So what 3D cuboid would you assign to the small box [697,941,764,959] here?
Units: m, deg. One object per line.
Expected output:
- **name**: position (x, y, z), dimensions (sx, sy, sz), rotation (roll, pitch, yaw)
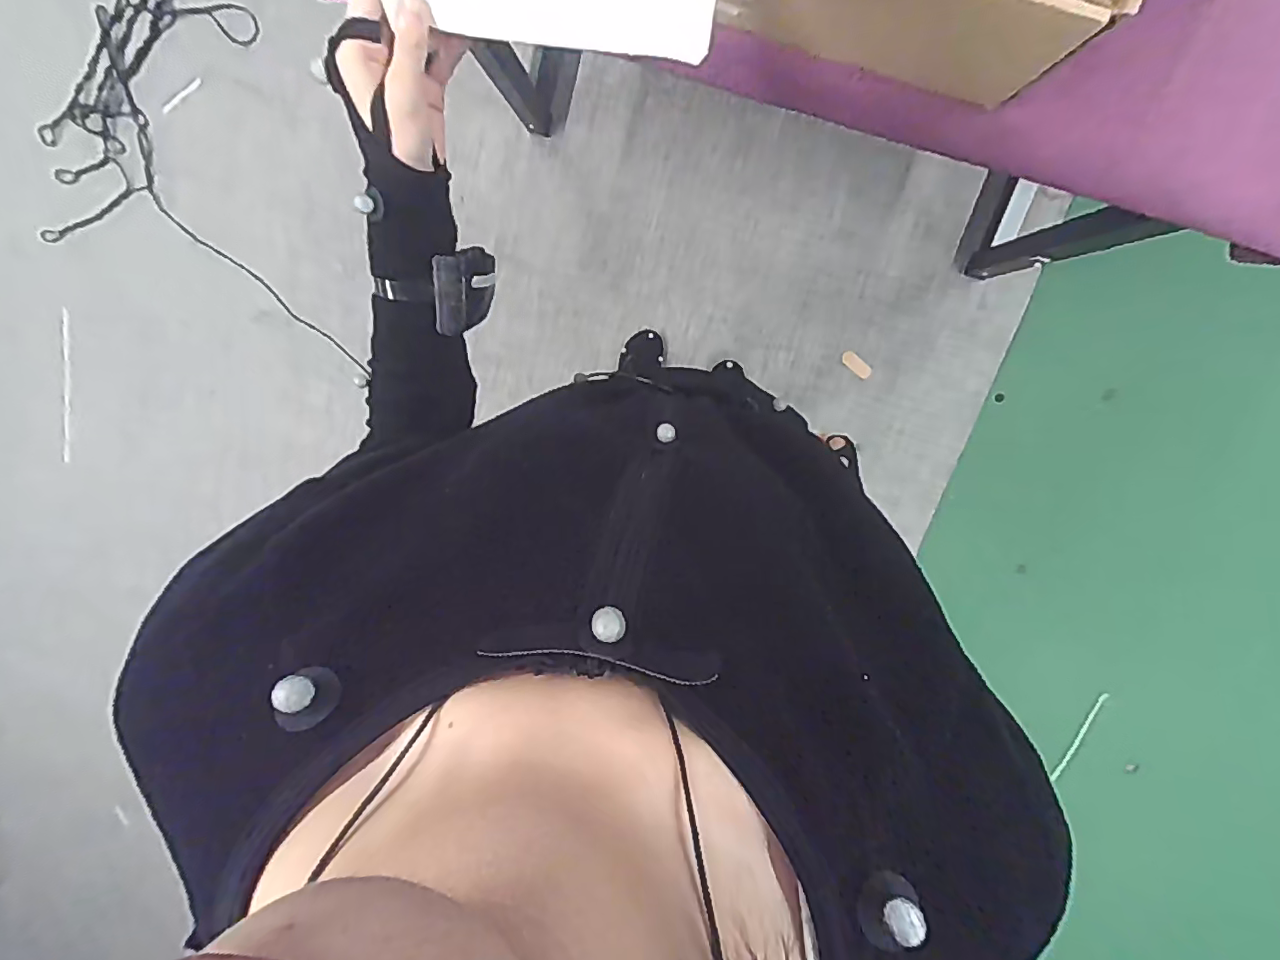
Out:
- **small box**: position (0.234, 1.349, 1.399), dimensions (0.179, 0.176, 0.168), rotation (6, 101, 4)
